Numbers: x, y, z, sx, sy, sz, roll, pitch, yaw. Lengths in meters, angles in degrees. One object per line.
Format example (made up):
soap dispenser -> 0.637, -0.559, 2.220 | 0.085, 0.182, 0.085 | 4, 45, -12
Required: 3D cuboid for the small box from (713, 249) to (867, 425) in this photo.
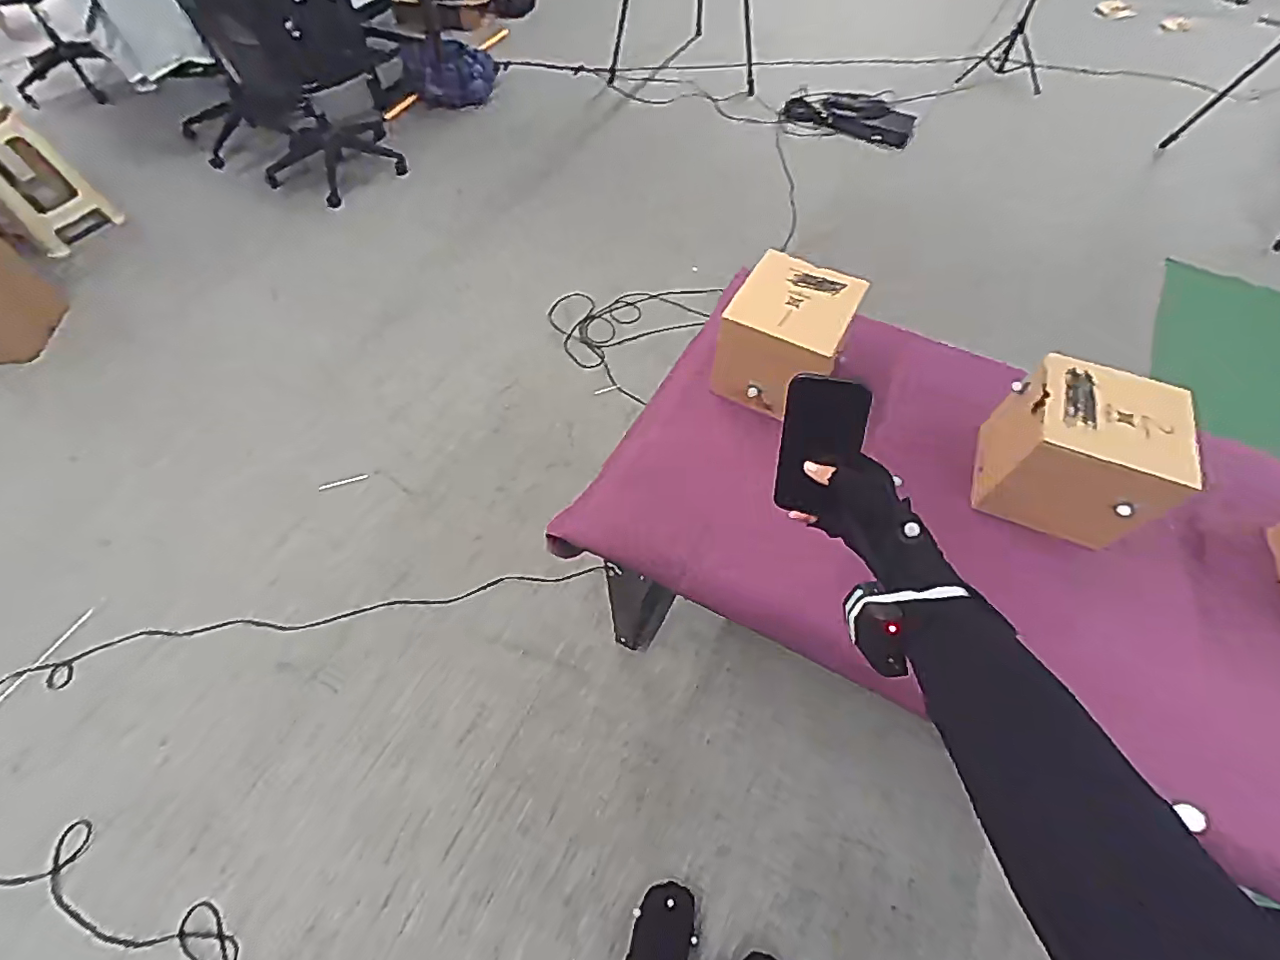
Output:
small box -> 0.226, -0.222, 0.855 | 0.168, 0.176, 0.179 | 26, 63, 15
